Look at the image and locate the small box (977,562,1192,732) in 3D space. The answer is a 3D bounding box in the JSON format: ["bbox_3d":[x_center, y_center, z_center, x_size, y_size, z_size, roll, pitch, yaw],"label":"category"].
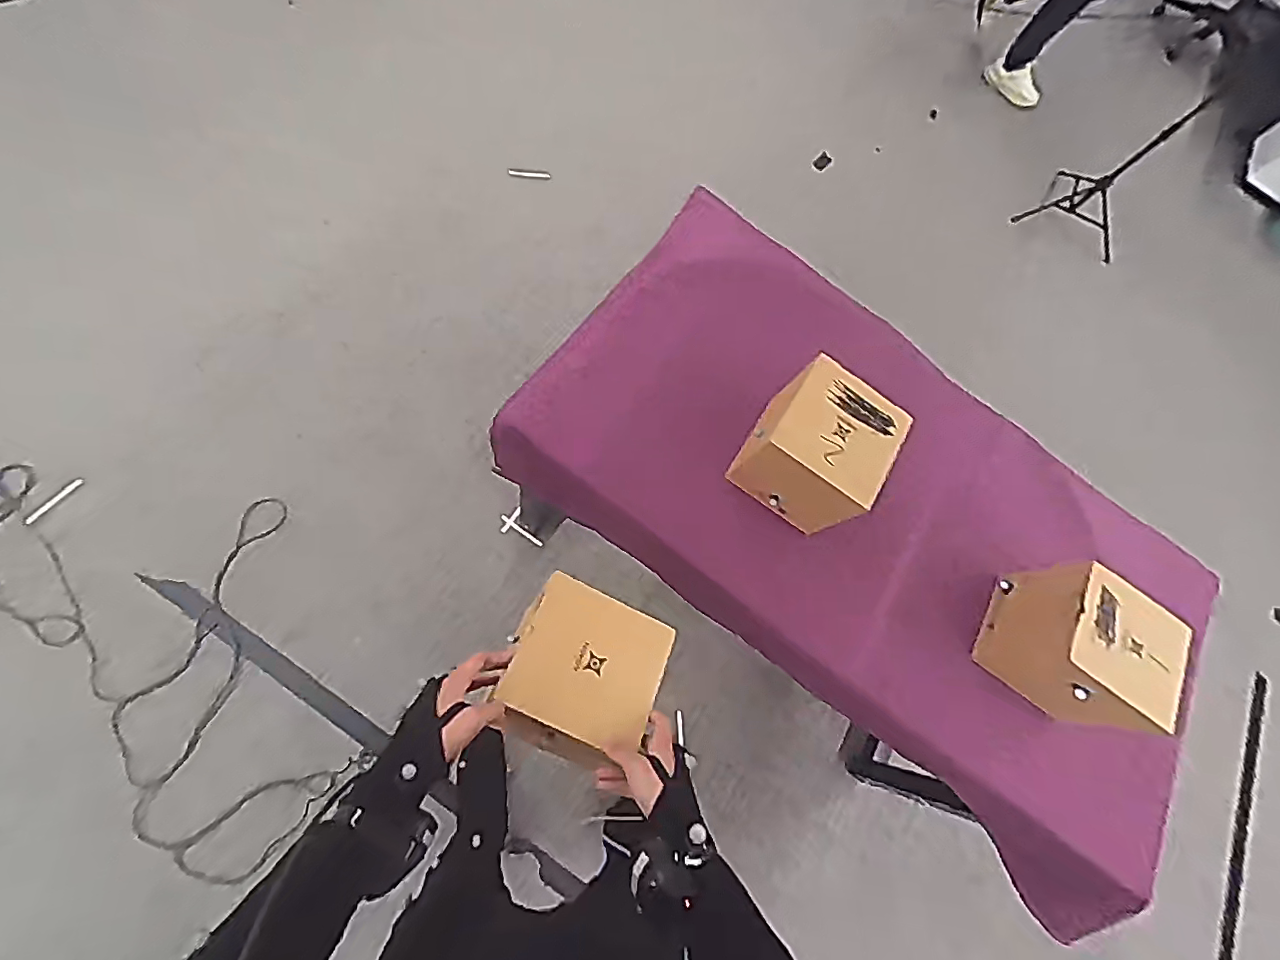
[{"bbox_3d":[0.660,0.251,0.818,0.179,0.176,0.168,36,68,0],"label":"small box"}]

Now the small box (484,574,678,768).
[{"bbox_3d":[-0.080,0.251,0.694,0.179,0.176,0.168,27,55,-5],"label":"small box"}]
